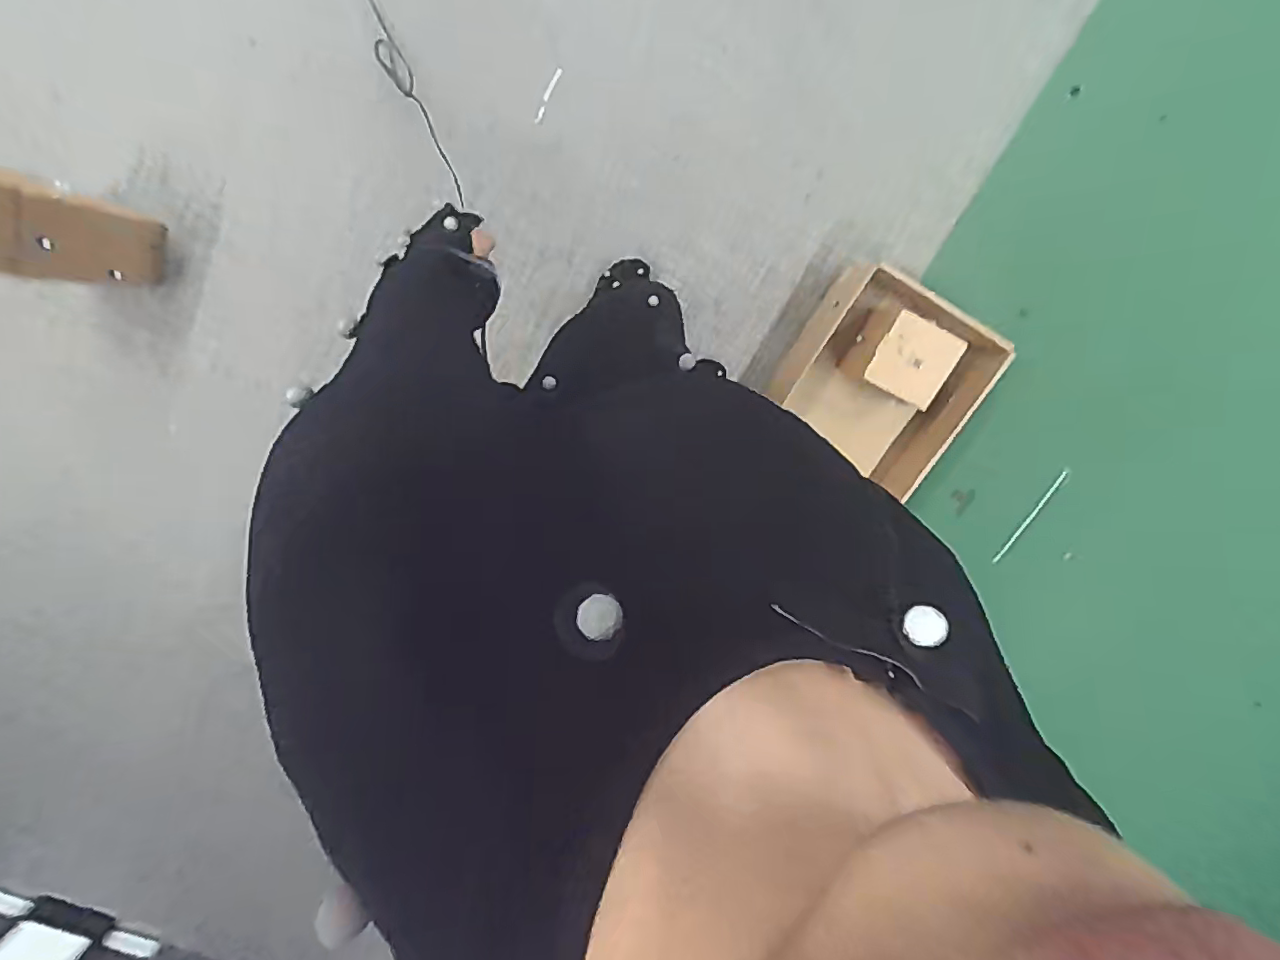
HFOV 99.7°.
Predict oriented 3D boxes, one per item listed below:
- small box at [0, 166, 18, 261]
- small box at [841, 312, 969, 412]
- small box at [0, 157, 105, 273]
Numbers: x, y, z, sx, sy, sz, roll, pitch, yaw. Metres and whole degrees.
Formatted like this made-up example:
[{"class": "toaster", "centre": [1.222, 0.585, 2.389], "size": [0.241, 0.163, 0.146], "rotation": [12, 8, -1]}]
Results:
[{"class": "small box", "centre": [-1.269, -0.503, 0.948], "size": [0.168, 0.176, 0.179], "rotation": [25, 106, -7]}, {"class": "small box", "centre": [0.610, -0.283, 1.267], "size": [0.179, 0.176, 0.168], "rotation": [27, 105, -7]}, {"class": "small box", "centre": [-1.264, -0.543, 1.108], "size": [0.168, 0.176, 0.179], "rotation": [25, 104, -8]}]
